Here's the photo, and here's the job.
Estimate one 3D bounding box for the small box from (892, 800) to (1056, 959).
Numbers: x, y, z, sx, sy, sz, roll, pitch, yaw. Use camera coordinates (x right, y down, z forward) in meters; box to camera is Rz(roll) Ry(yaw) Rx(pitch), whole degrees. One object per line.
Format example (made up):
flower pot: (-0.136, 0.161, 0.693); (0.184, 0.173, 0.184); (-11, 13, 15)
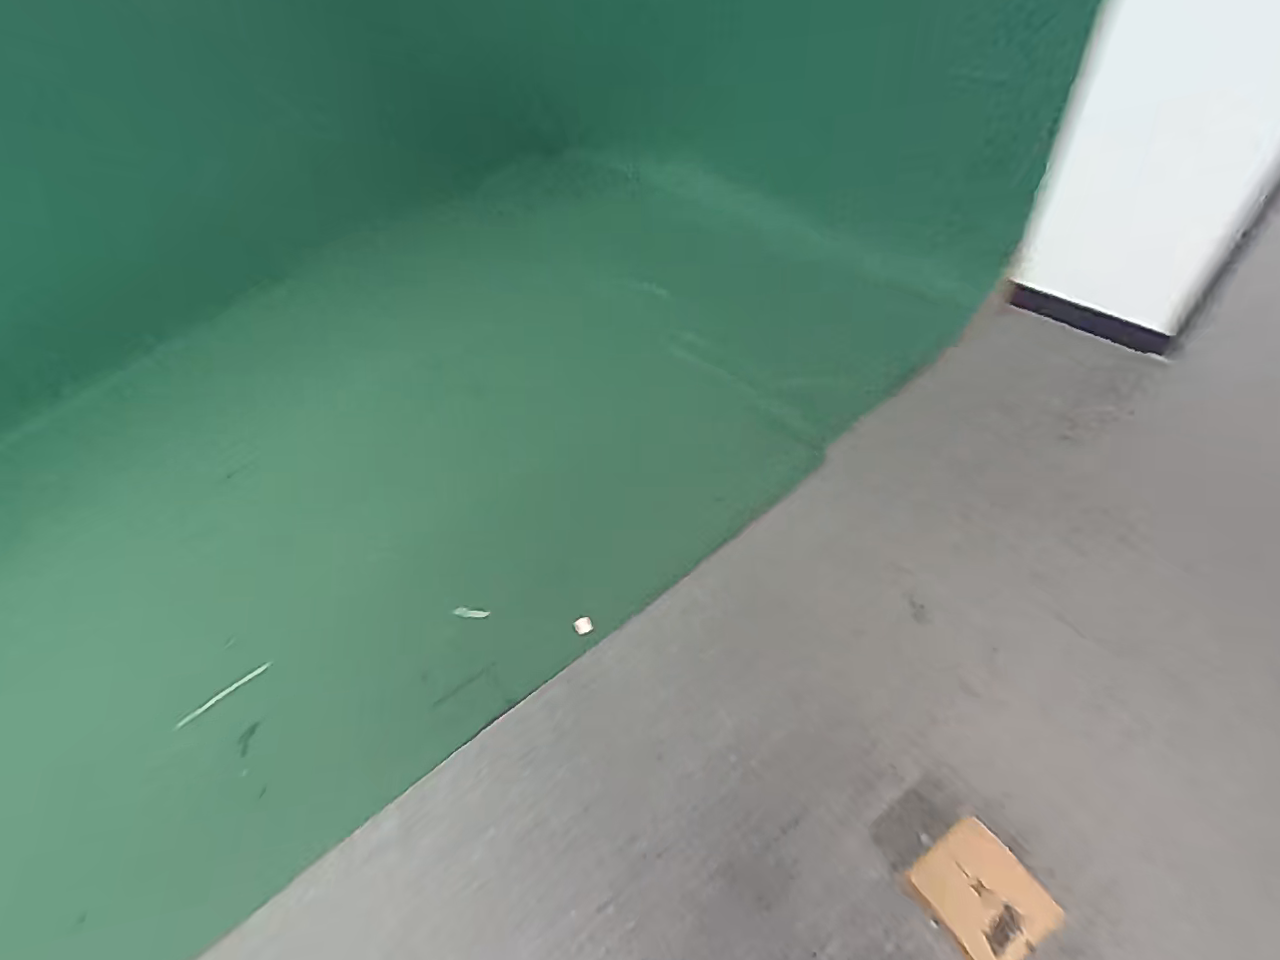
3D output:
small box: (0.599, 0.727, 0.996); (0.168, 0.176, 0.179); (-30, 52, -8)
